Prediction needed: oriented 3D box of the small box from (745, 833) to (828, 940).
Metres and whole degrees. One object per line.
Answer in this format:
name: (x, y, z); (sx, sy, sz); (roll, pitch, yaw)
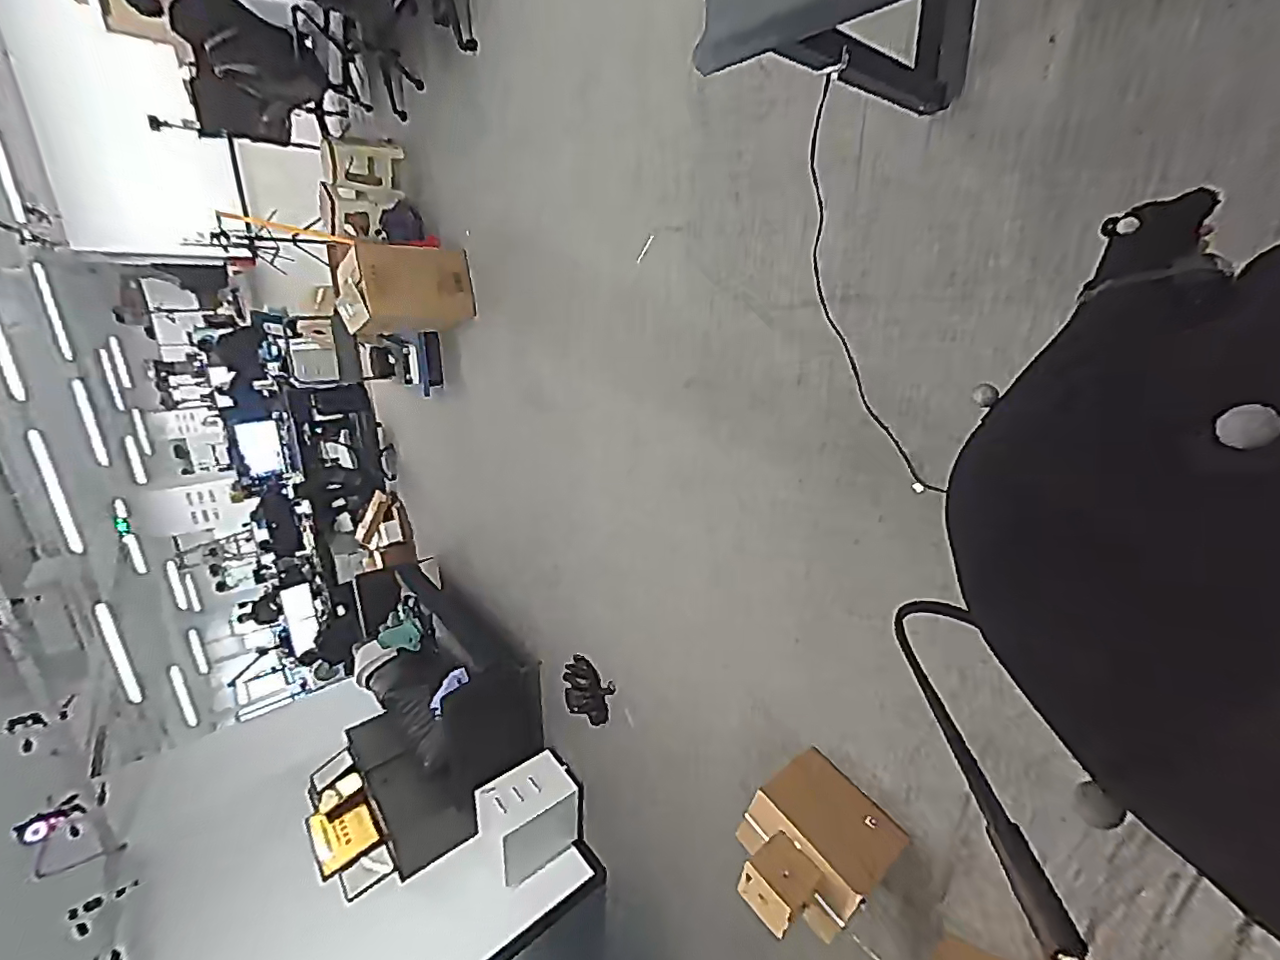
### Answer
small box: (0.463, 1.271, 1.703); (0.179, 0.176, 0.168); (30, 124, 42)
